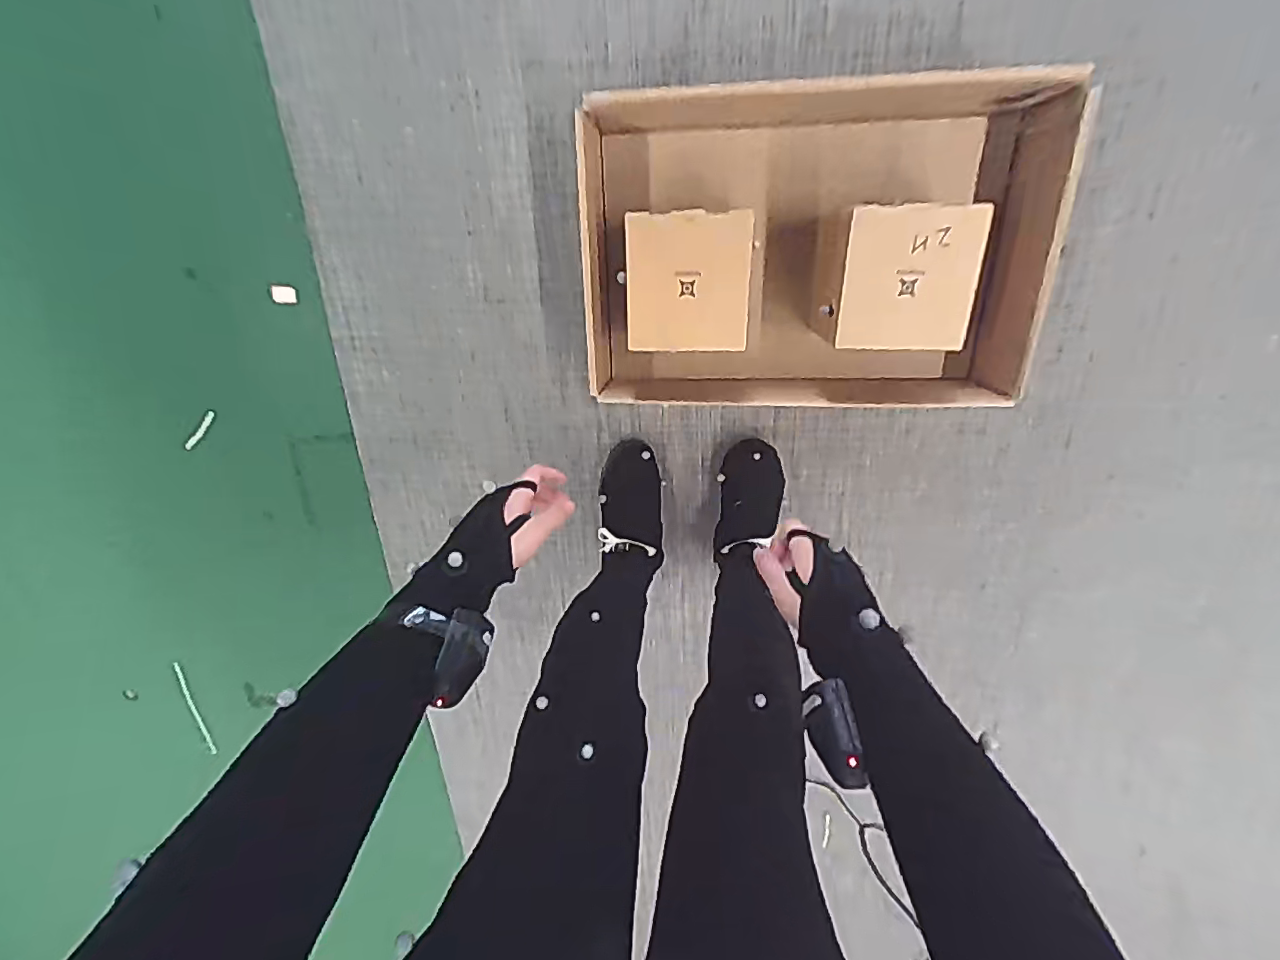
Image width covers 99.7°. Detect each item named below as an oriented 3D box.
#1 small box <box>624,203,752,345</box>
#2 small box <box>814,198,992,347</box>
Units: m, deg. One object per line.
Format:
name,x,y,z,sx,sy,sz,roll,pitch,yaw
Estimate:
small box,0.068,-0.298,0.788,0.168,0.176,0.179,2,111,5
small box,0.349,-0.291,0.760,0.168,0.176,0.179,3,112,5
